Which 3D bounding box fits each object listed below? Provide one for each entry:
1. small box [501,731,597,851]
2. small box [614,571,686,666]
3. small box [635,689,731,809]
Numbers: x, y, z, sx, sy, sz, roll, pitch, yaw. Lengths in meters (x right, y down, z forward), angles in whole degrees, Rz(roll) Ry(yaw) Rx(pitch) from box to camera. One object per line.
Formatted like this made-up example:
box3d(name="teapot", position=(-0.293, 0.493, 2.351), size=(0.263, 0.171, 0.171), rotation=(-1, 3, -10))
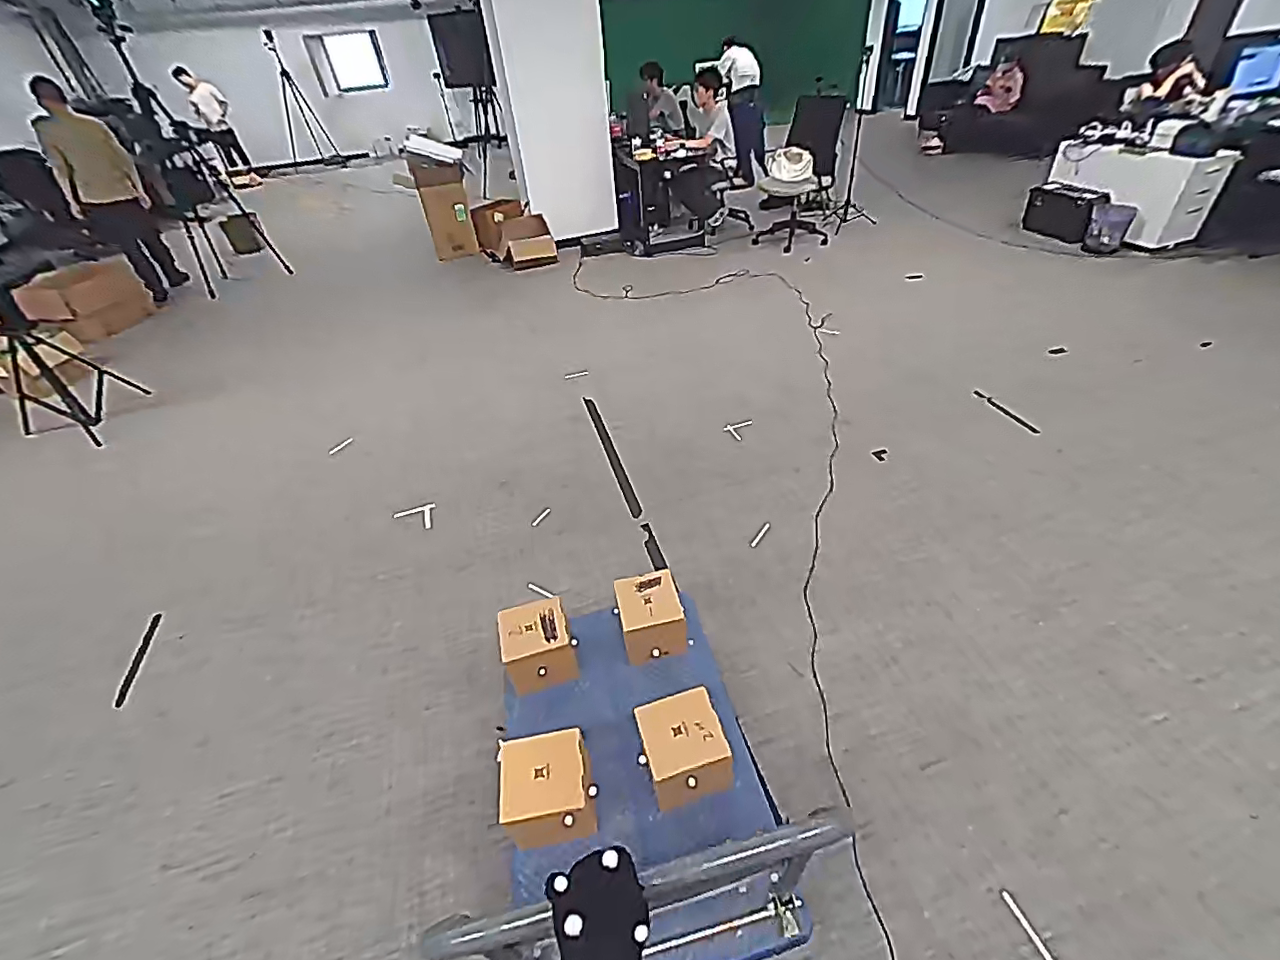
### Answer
box3d(name="small box", position=(-0.199, 0.687, 1.192), size=(0.179, 0.176, 0.168), rotation=(-9, 39, -6))
box3d(name="small box", position=(0.027, 0.389, 1.519), size=(0.168, 0.176, 0.179), rotation=(-12, 41, -6))
box3d(name="small box", position=(0.100, 0.616, 1.234), size=(0.179, 0.176, 0.168), rotation=(-14, 40, -9))
